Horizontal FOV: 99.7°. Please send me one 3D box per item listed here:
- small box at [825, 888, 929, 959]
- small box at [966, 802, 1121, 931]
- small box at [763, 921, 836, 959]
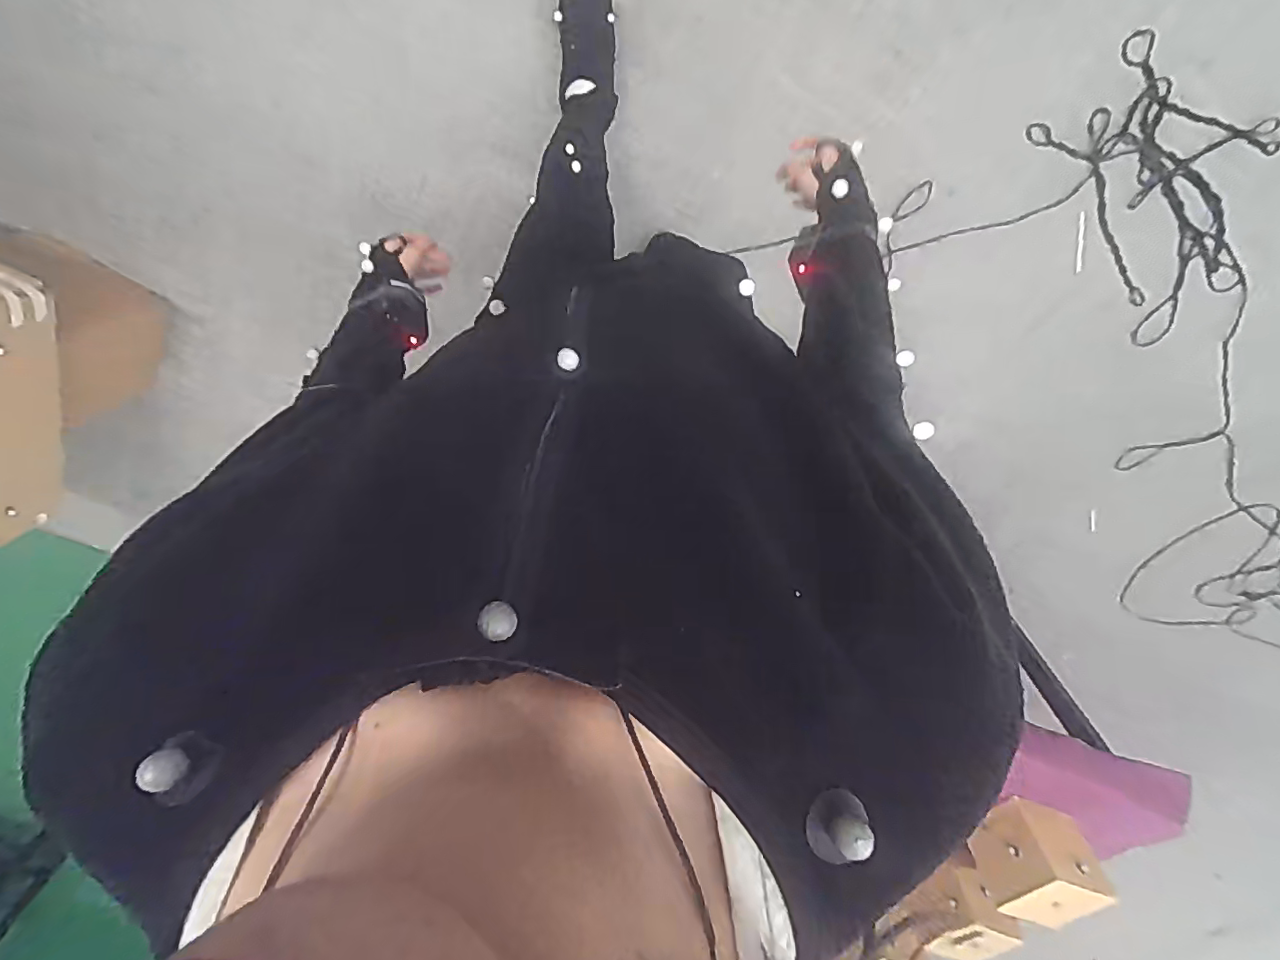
[{"bbox_3d":[0.615,1.204,1.414,0.179,0.176,0.168,29,119,-15],"label":"small box"},{"bbox_3d":[0.865,0.838,1.181,0.179,0.176,0.168,23,119,-13],"label":"small box"},{"bbox_3d":[0.477,1.391,1.534,0.179,0.176,0.168,31,117,-16],"label":"small box"}]
